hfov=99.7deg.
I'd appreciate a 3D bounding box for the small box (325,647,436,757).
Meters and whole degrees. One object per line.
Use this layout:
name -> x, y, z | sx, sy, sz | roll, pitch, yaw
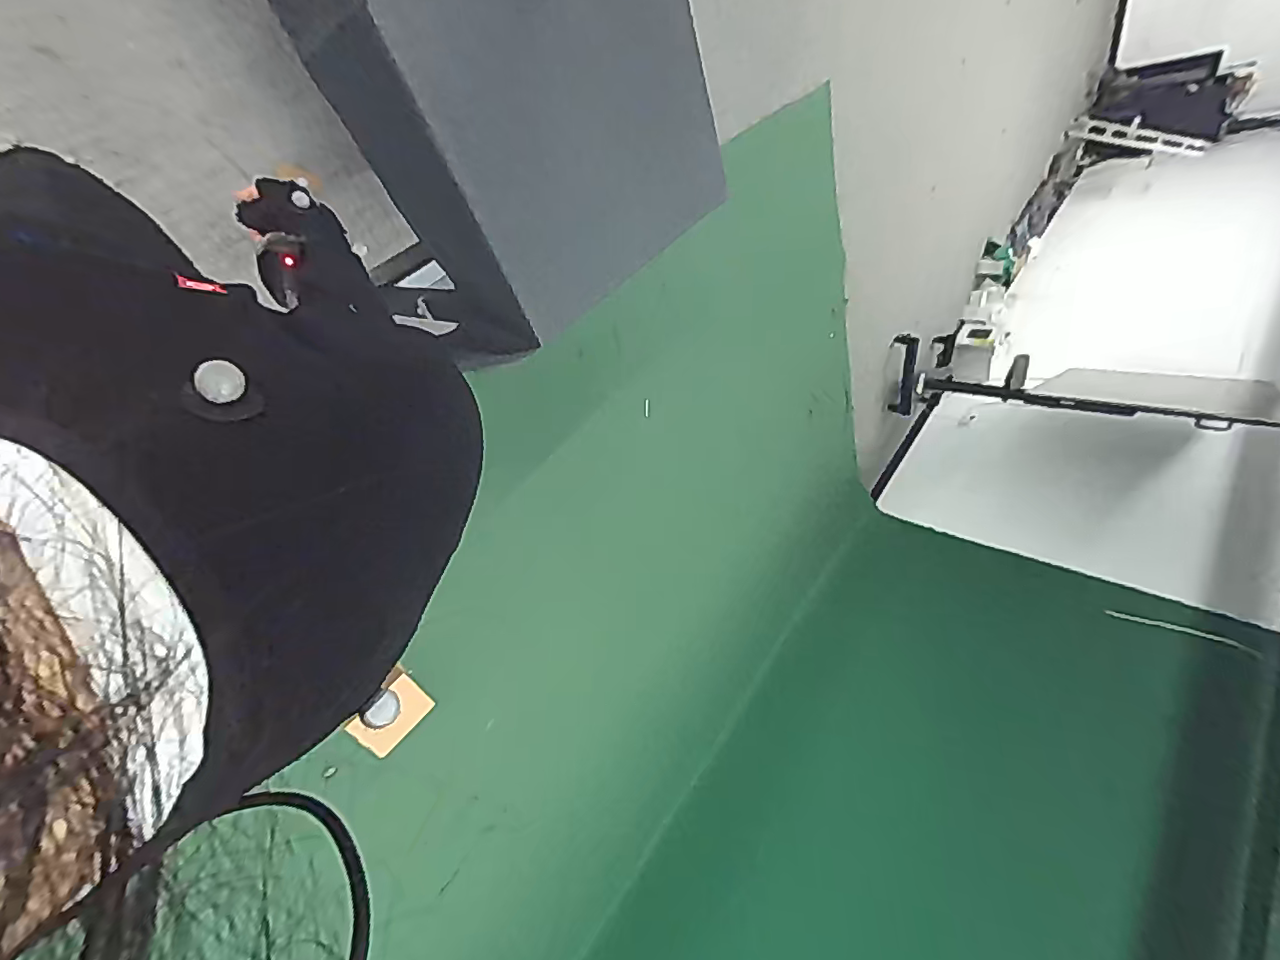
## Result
small box -> -0.686, 0.578, 1.426 | 0.179, 0.176, 0.168 | -44, 133, -28
